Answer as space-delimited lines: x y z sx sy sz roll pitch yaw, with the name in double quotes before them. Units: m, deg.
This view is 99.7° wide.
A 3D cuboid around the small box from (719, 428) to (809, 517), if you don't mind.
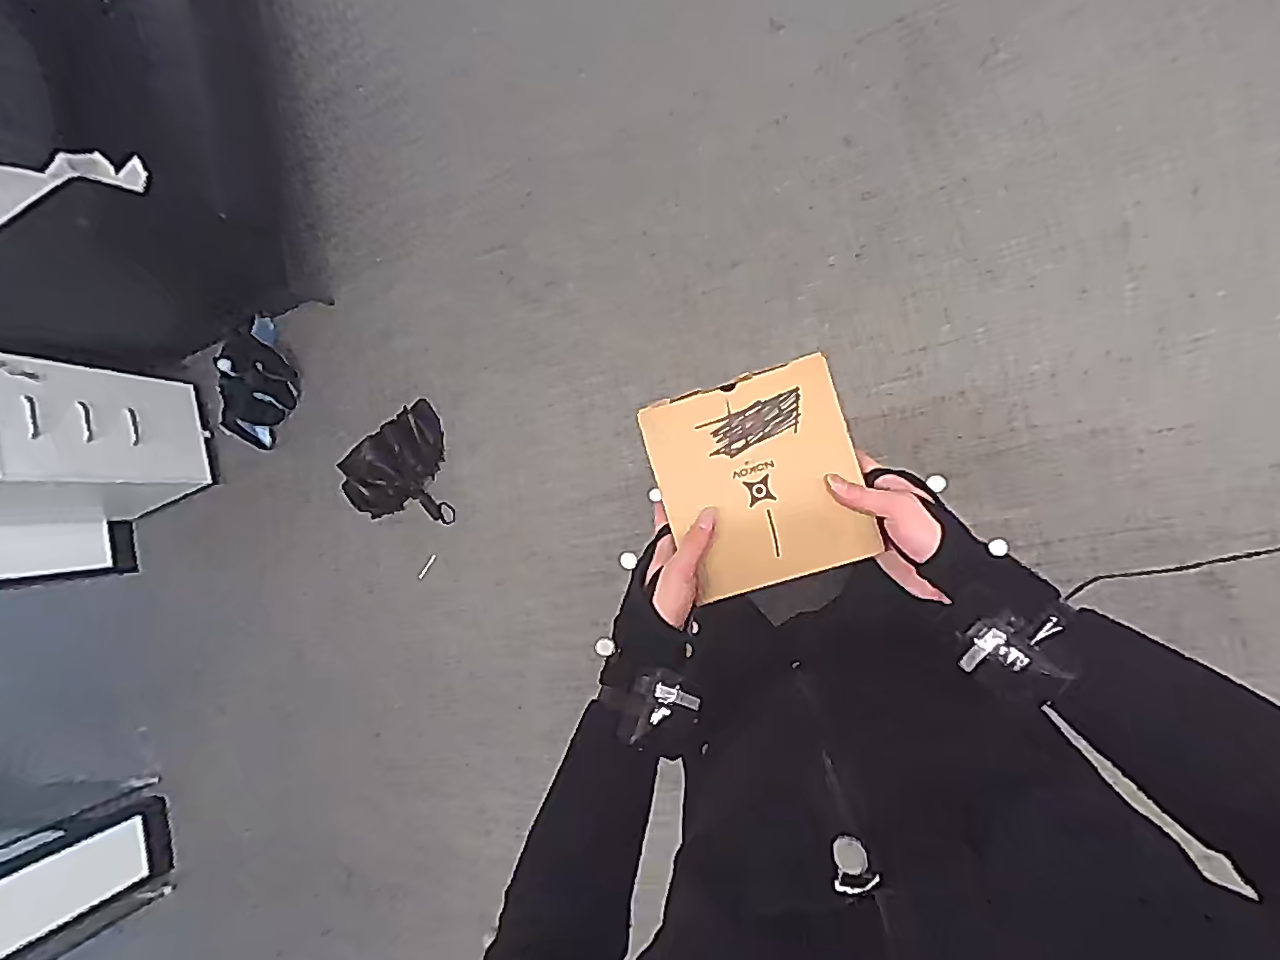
"small box" 0.303 -0.015 1.306 0.168 0.176 0.179 -15 85 21
